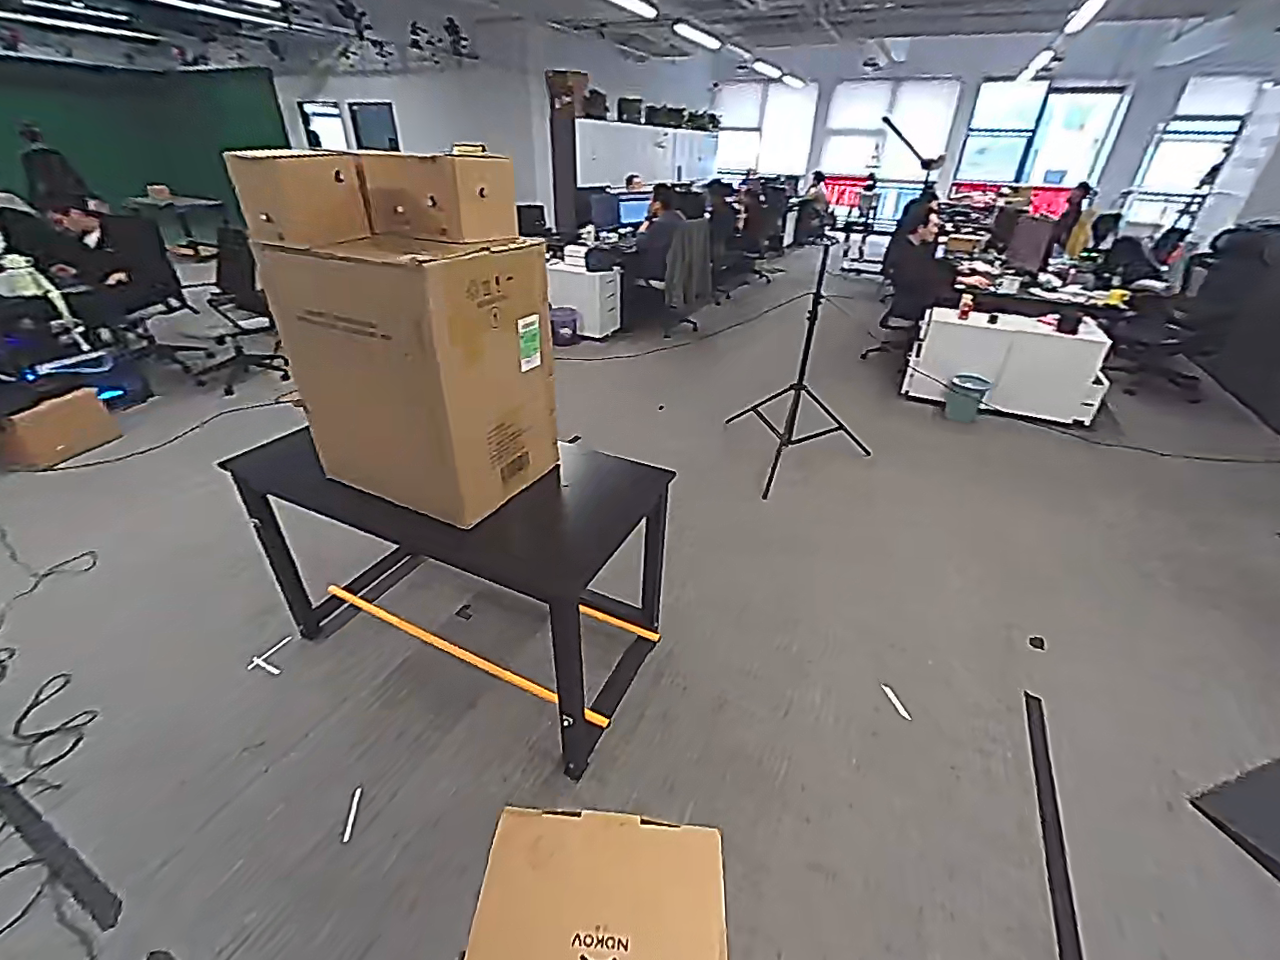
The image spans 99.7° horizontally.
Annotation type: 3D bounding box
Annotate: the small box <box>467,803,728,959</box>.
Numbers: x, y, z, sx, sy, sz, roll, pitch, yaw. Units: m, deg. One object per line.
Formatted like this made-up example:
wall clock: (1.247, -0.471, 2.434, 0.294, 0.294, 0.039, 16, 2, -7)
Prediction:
small box: (-0.033, 0.363, 0.382, 0.168, 0.176, 0.179, 5, 38, 0)

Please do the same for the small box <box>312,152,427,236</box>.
small box: (-0.655, -0.700, 1.324, 0.179, 0.176, 0.168, 17, 34, 21)
